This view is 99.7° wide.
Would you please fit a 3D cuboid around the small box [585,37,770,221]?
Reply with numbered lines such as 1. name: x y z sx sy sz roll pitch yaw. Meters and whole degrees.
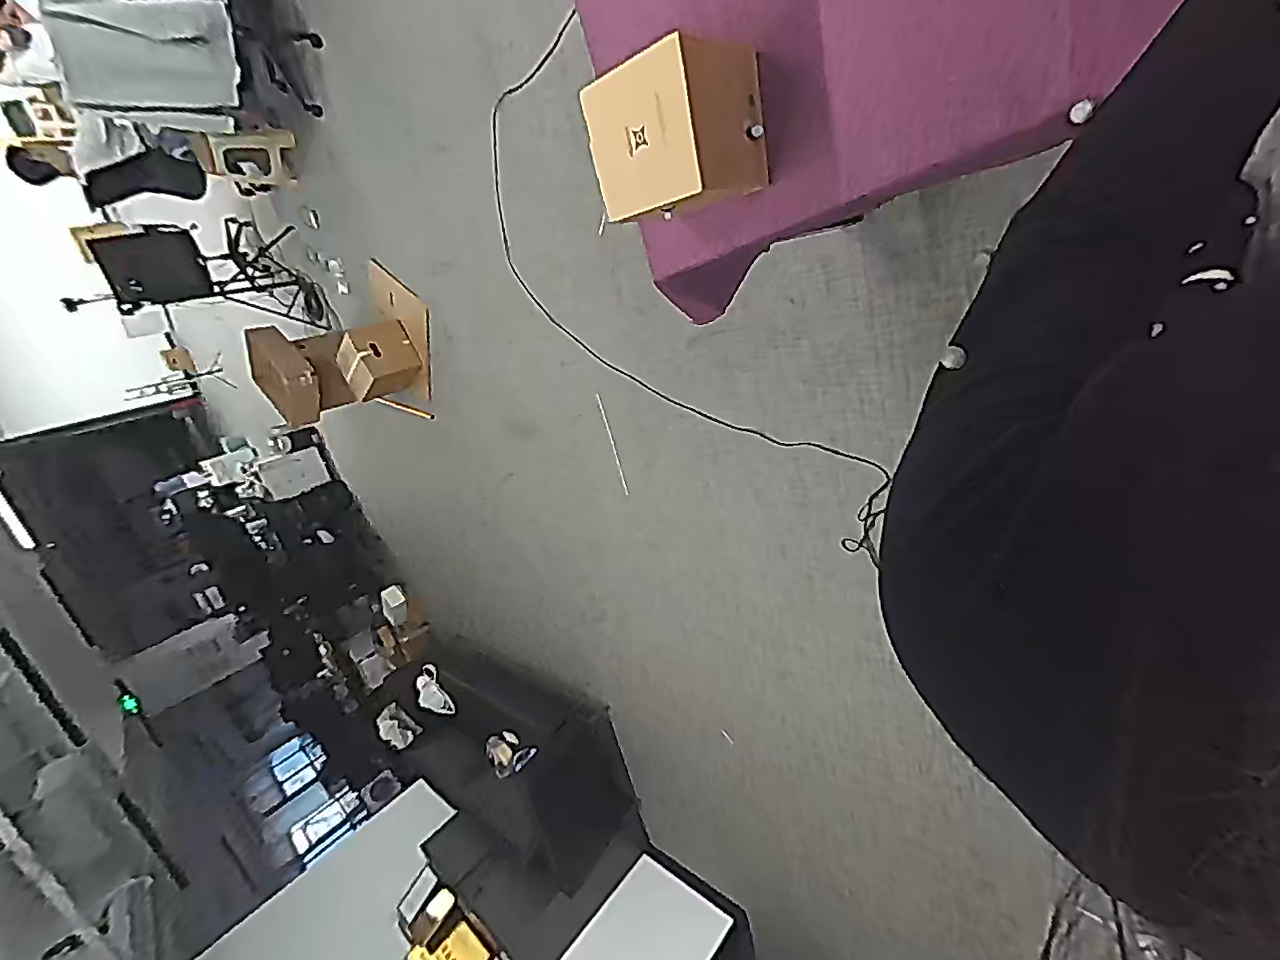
1. small box: 0.055 -0.466 0.745 0.179 0.176 0.168 8 119 43
